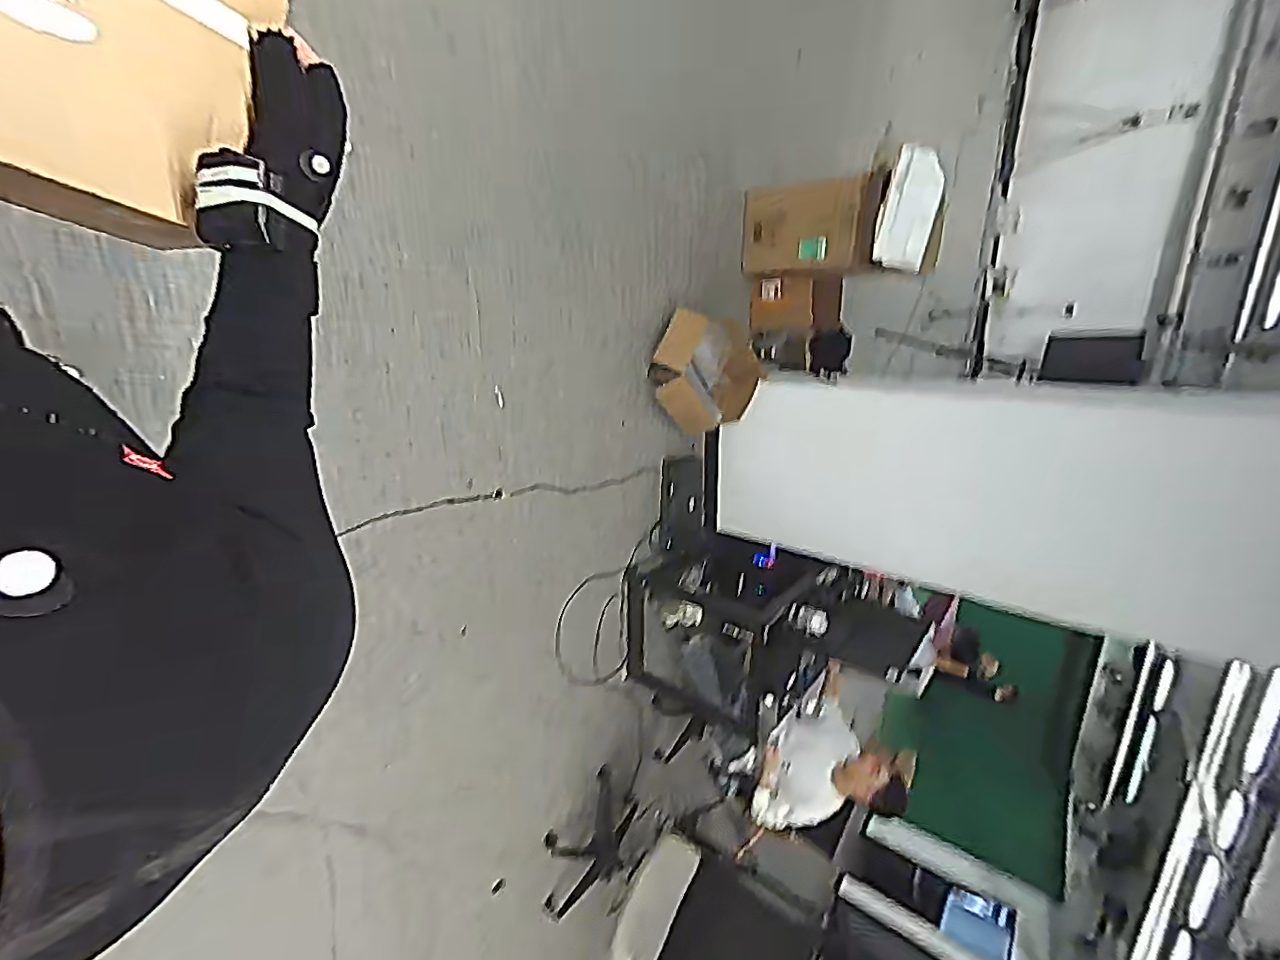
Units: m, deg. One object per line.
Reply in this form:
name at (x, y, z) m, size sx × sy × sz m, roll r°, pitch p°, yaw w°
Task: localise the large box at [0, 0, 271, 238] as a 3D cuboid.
large box at (-0.545, -0.402, 0.375) m, size 0.408 × 0.320 × 0.320 m, roll 5°, pitch 101°, yaw -53°
